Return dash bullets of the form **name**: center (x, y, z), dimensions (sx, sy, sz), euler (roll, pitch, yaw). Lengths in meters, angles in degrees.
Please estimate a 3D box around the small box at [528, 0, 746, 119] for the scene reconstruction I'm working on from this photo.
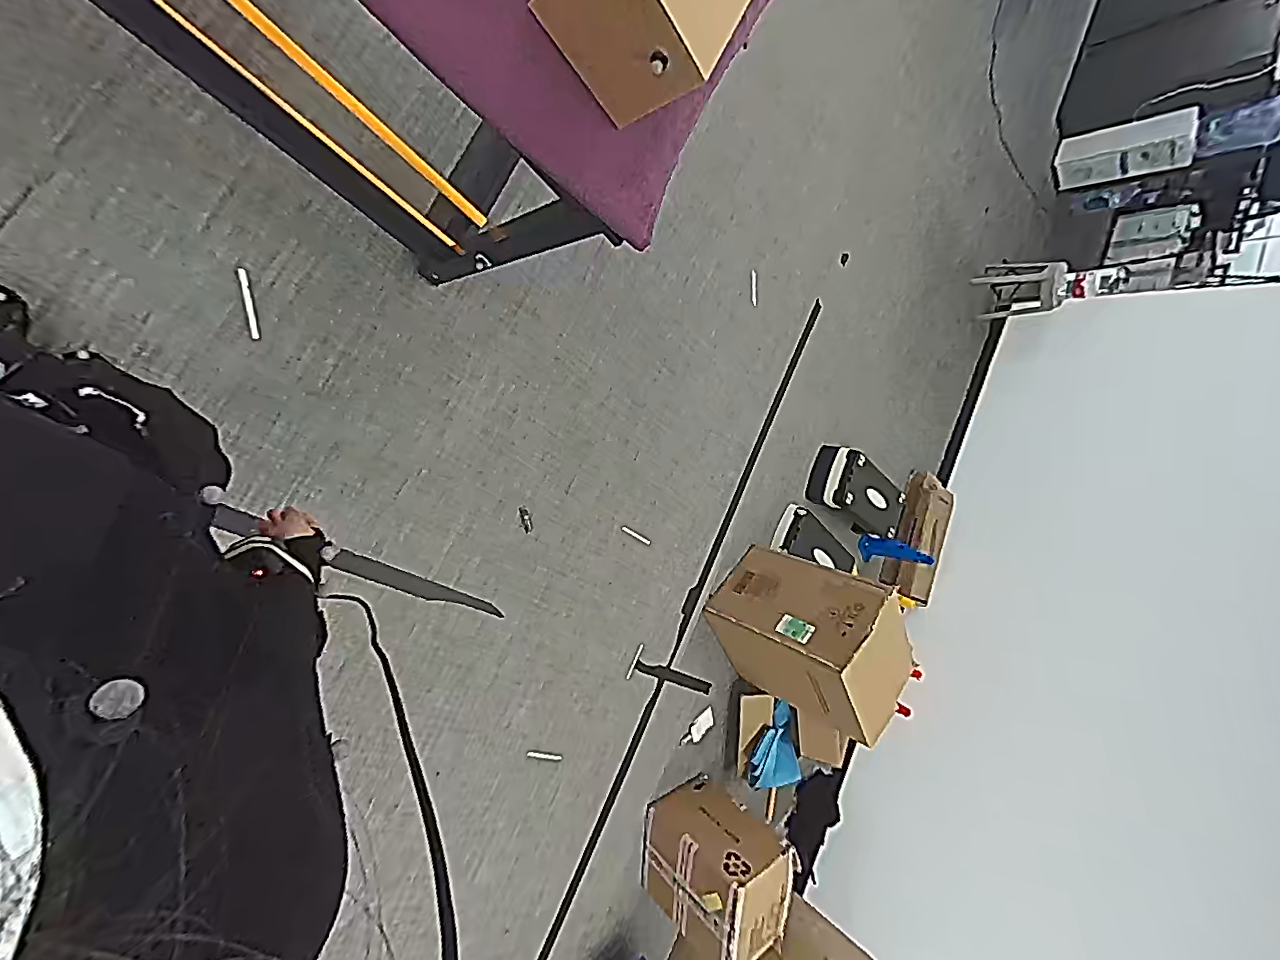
- **small box**: center (-0.004, -0.594, 0.677), dimensions (0.179, 0.176, 0.168), euler (37, 72, -40)
